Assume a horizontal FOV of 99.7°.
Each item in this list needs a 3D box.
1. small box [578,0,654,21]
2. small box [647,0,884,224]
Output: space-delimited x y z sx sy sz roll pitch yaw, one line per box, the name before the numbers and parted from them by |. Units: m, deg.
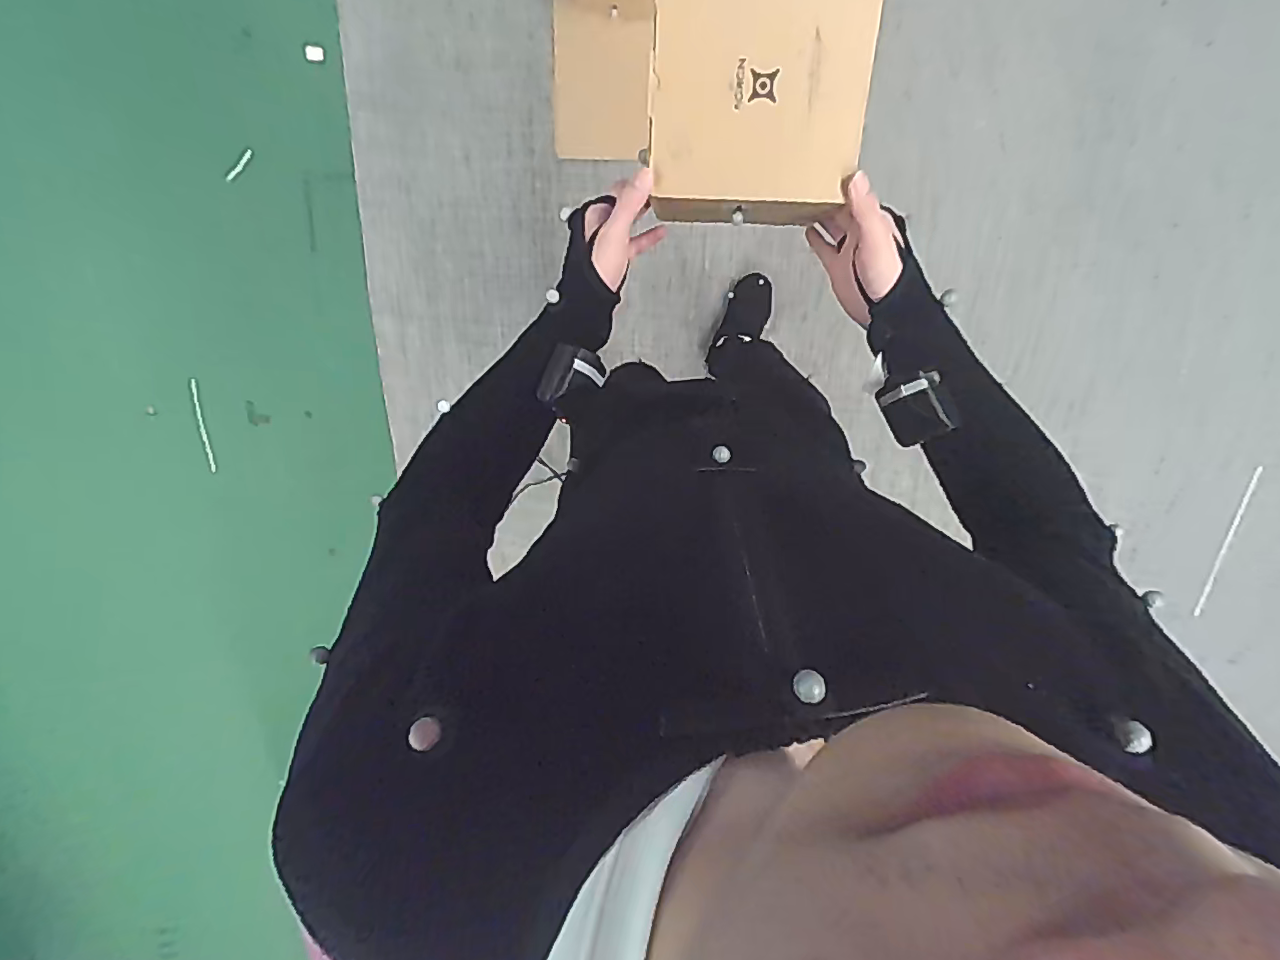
small box | -0.048 -1.141 1.173 0.179 0.176 0.168 12 110 2
small box | 0.103 -0.342 0.511 0.179 0.176 0.168 4 110 3
